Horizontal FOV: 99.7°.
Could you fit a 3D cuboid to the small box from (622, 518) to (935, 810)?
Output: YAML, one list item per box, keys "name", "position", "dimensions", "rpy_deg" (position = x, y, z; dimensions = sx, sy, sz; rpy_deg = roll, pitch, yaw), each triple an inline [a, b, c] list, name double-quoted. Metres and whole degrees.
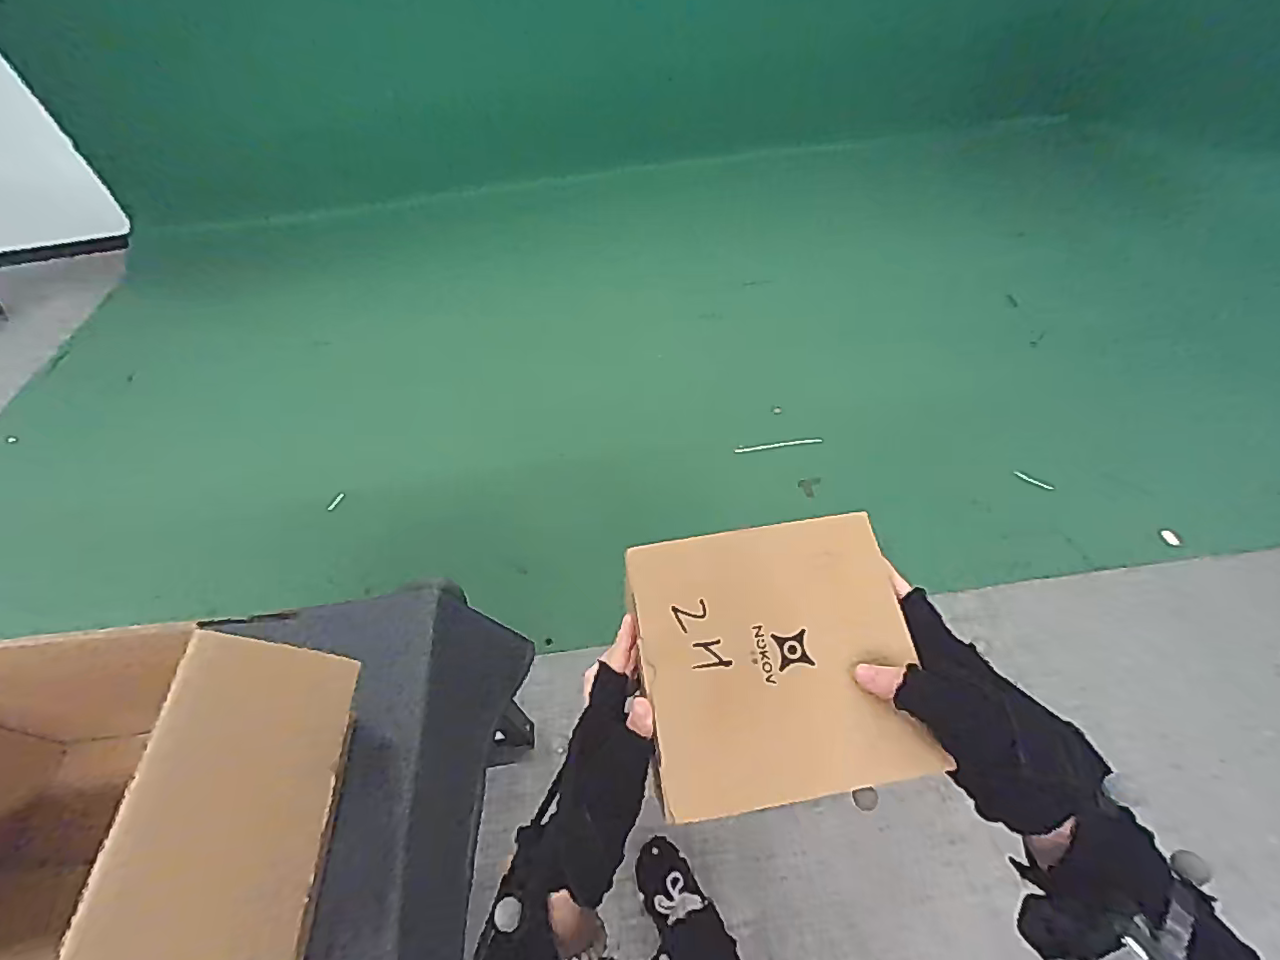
- name: "small box"
  position: [0.082, 0.142, 0.424]
  dimensions: [0.179, 0.176, 0.168]
  rpy_deg: [-7, 65, -5]
